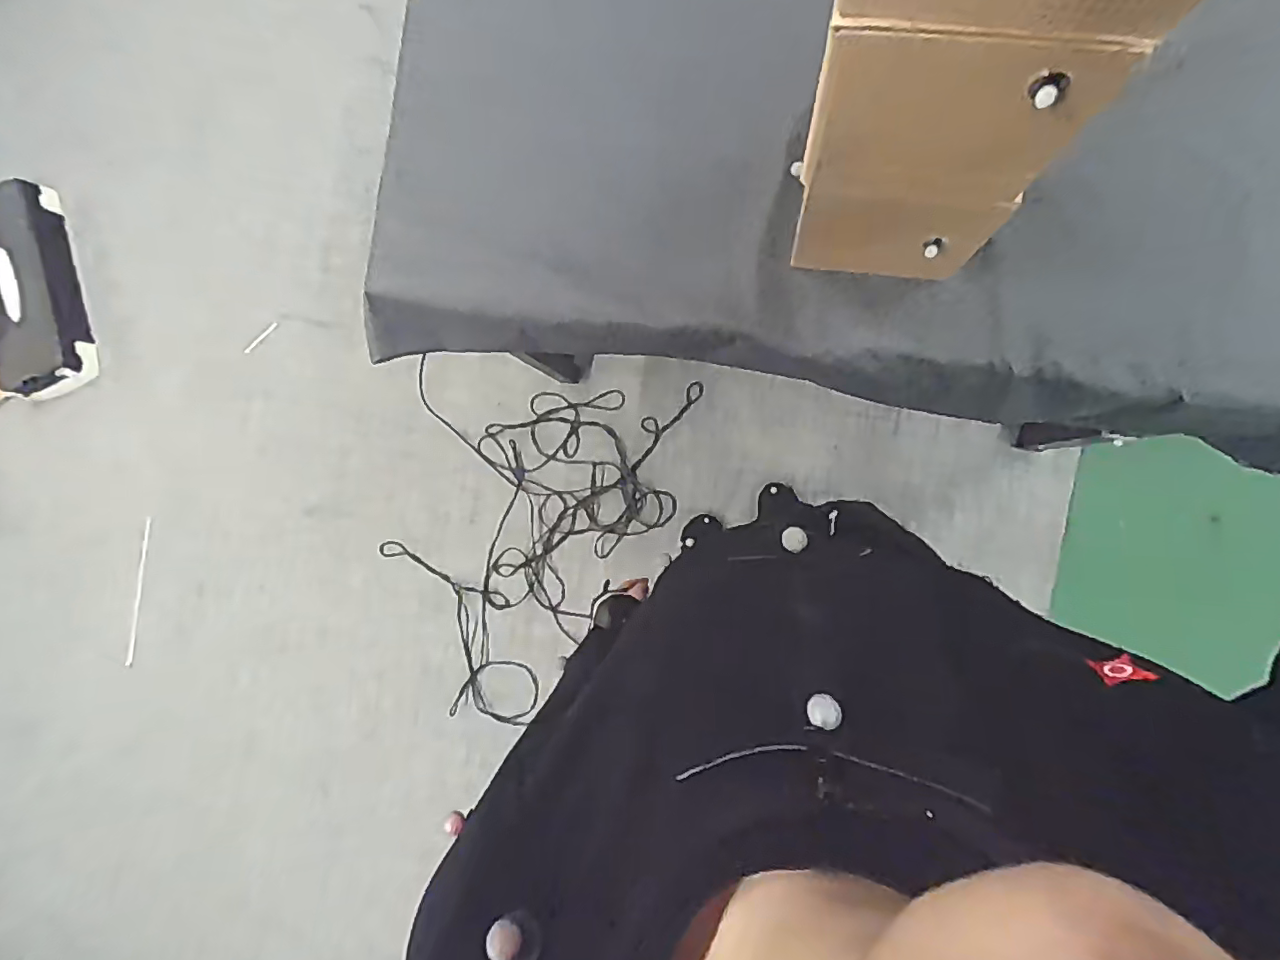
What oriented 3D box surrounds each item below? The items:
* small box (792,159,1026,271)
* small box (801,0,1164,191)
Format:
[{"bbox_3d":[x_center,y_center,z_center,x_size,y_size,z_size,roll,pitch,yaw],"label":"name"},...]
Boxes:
[{"bbox_3d":[0.258,-0.324,0.539,0.179,0.176,0.168,10,90,12],"label":"small box"},{"bbox_3d":[0.221,-0.332,0.380,0.179,0.176,0.168,11,91,9],"label":"small box"}]
